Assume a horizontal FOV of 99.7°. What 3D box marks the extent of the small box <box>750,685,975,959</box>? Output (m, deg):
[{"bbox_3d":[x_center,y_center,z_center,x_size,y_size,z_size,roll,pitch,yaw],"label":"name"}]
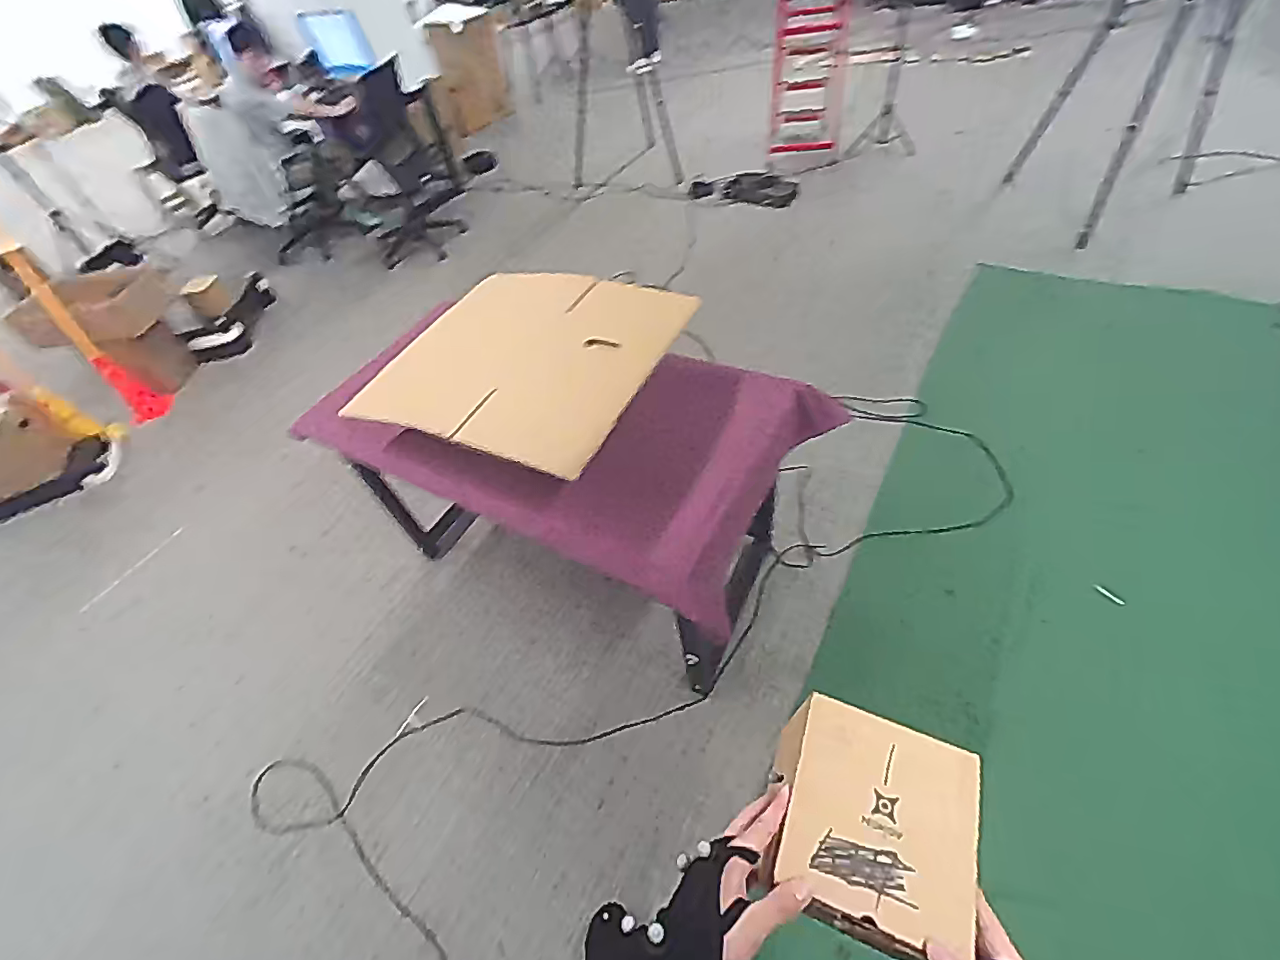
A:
[{"bbox_3d":[0.218,0.348,0.558,0.168,0.176,0.179,17,55,14],"label":"small box"}]
